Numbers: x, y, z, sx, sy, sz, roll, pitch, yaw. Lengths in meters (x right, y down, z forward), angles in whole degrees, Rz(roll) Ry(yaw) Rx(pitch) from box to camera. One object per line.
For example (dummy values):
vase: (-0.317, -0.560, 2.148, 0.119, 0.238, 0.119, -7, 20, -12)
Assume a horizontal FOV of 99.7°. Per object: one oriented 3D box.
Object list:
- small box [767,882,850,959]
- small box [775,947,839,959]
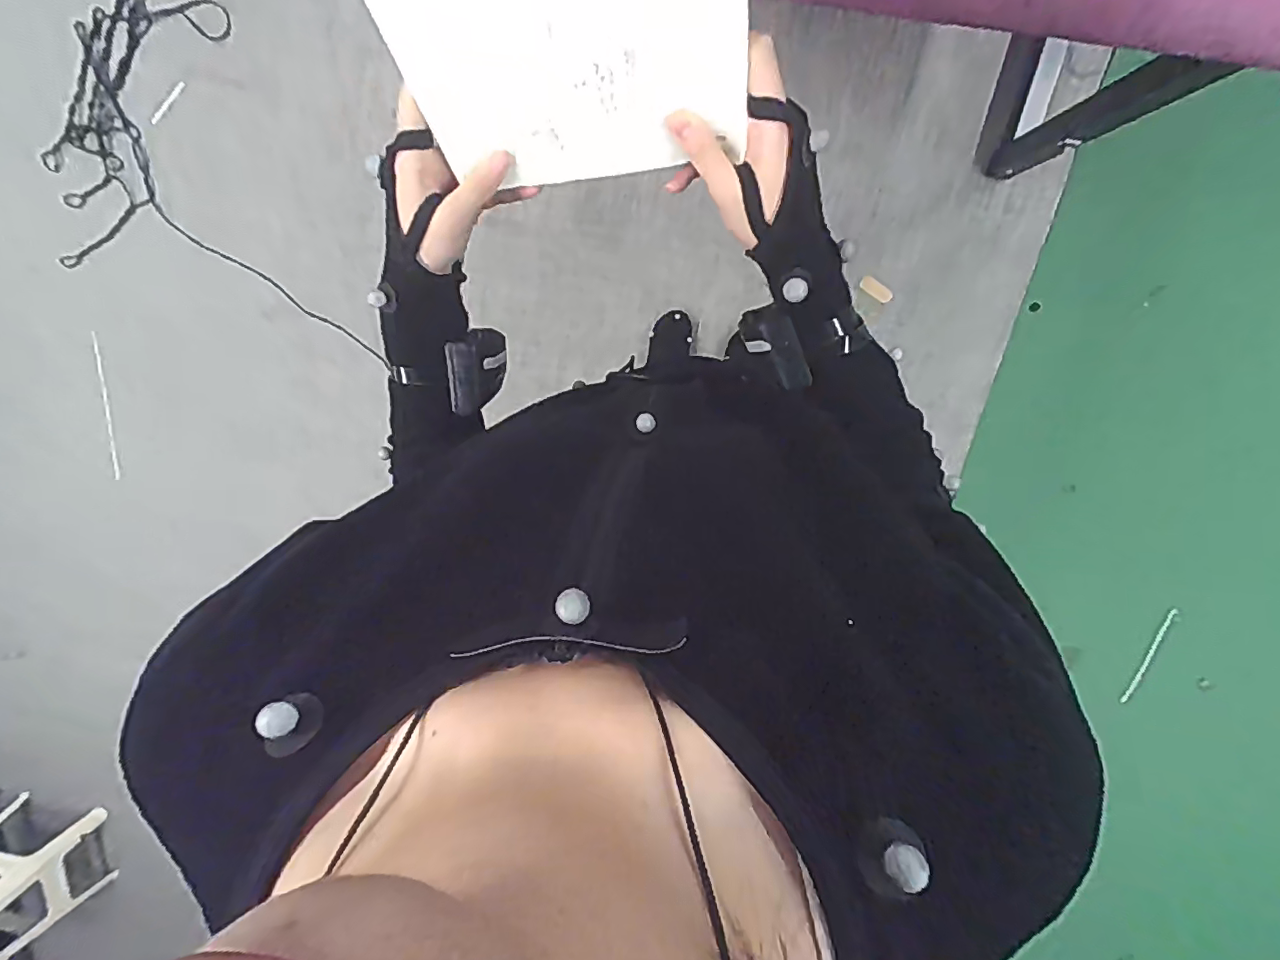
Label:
small box: (0.435, 1.202, 1.422, 0.179, 0.176, 0.168, 1, 105, 7)
small box: (0.406, 1.250, 1.268, 0.168, 0.176, 0.179, 2, 105, 7)
